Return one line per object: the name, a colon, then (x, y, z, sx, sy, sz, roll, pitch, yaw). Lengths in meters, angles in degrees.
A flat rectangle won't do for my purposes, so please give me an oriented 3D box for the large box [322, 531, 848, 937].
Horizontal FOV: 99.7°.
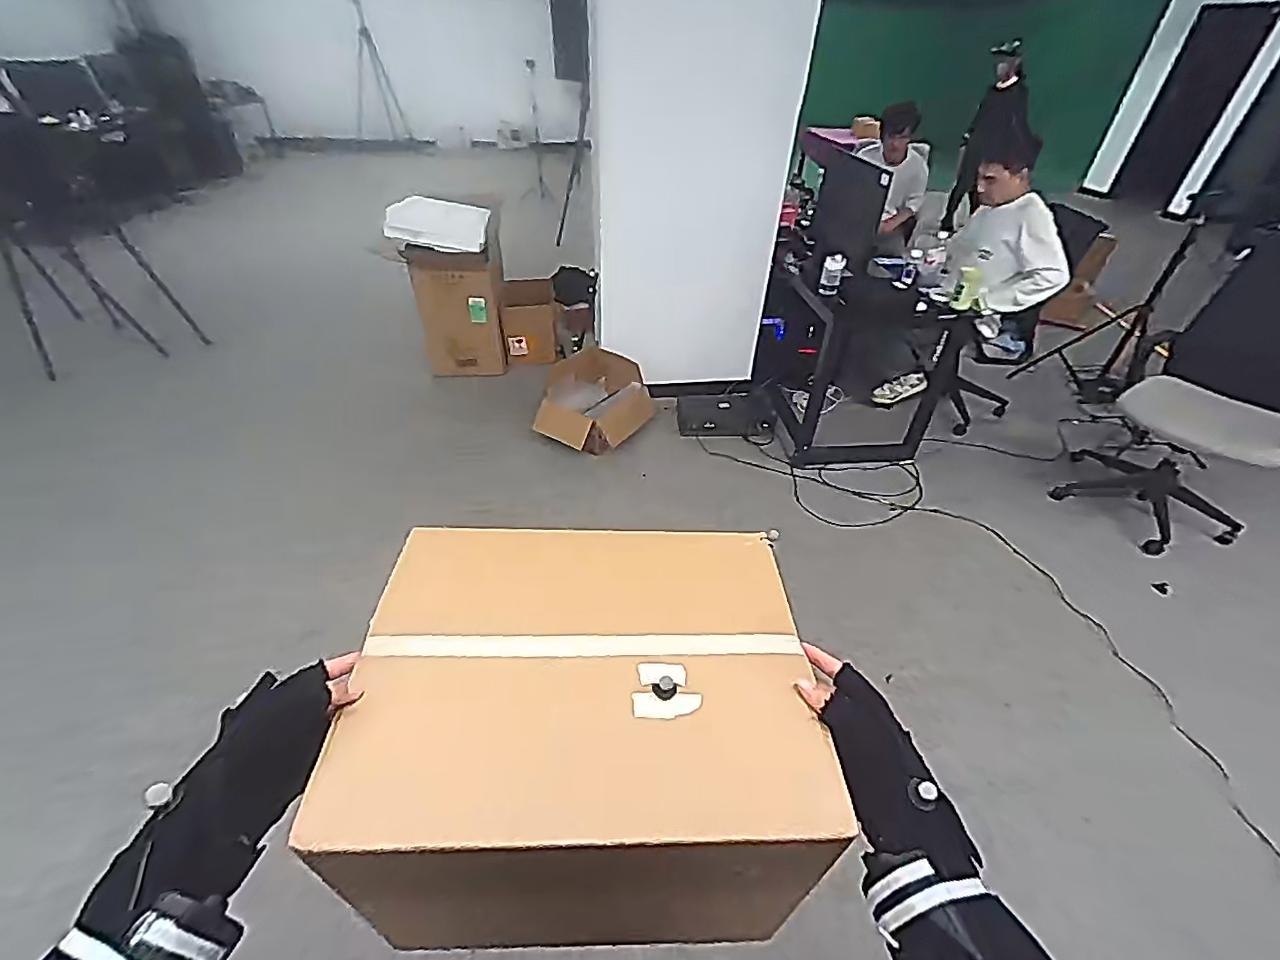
large box: (-0.052, 0.274, 0.610, 0.408, 0.320, 0.320, 2, 40, -4)
